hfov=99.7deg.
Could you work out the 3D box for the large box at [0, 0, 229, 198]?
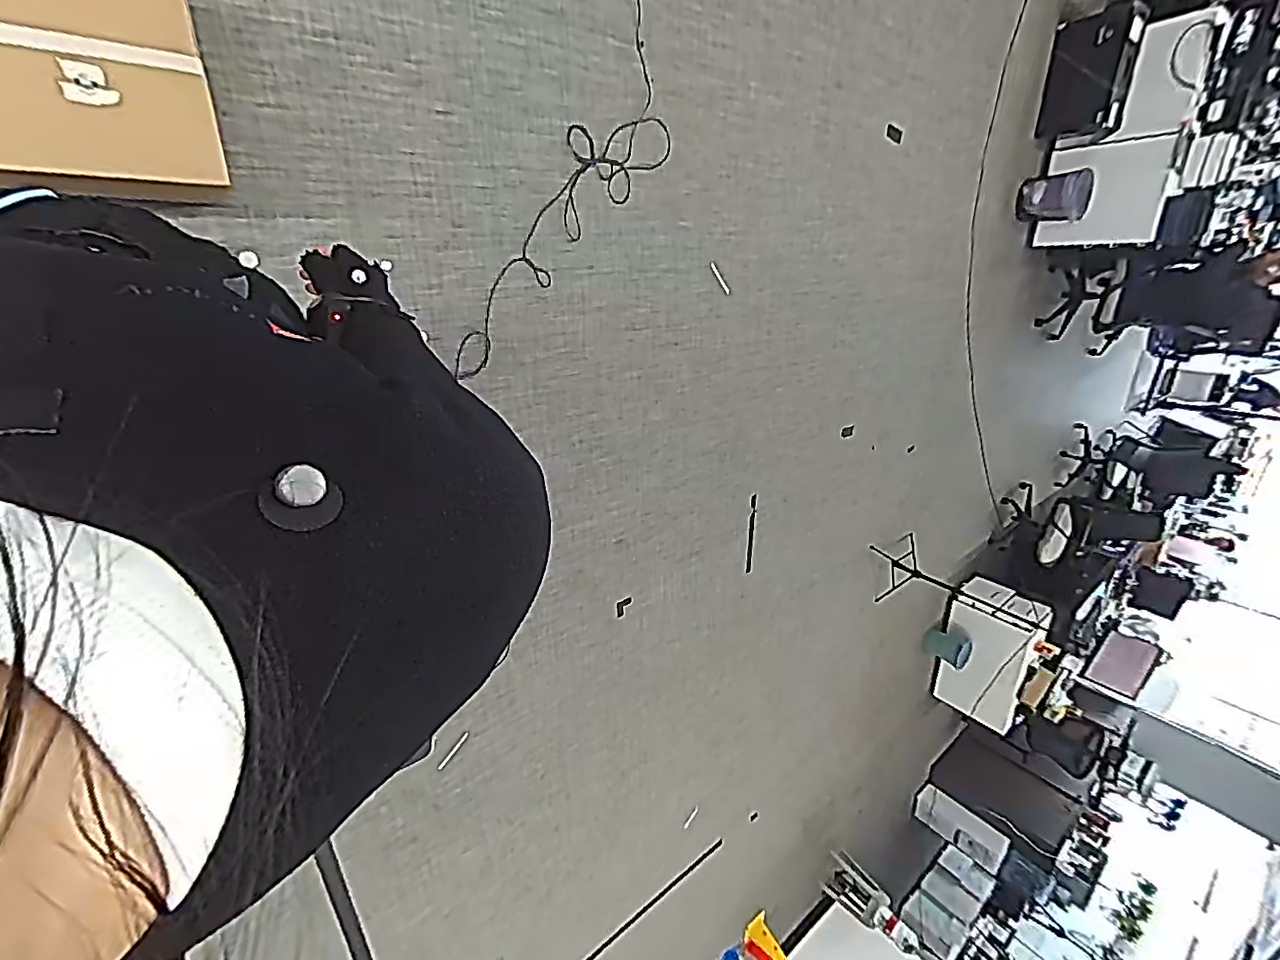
[{"bbox_3d":[-0.901,-0.613,0.798,0.408,0.320,0.320,-16,117,-36],"label":"large box"}]
